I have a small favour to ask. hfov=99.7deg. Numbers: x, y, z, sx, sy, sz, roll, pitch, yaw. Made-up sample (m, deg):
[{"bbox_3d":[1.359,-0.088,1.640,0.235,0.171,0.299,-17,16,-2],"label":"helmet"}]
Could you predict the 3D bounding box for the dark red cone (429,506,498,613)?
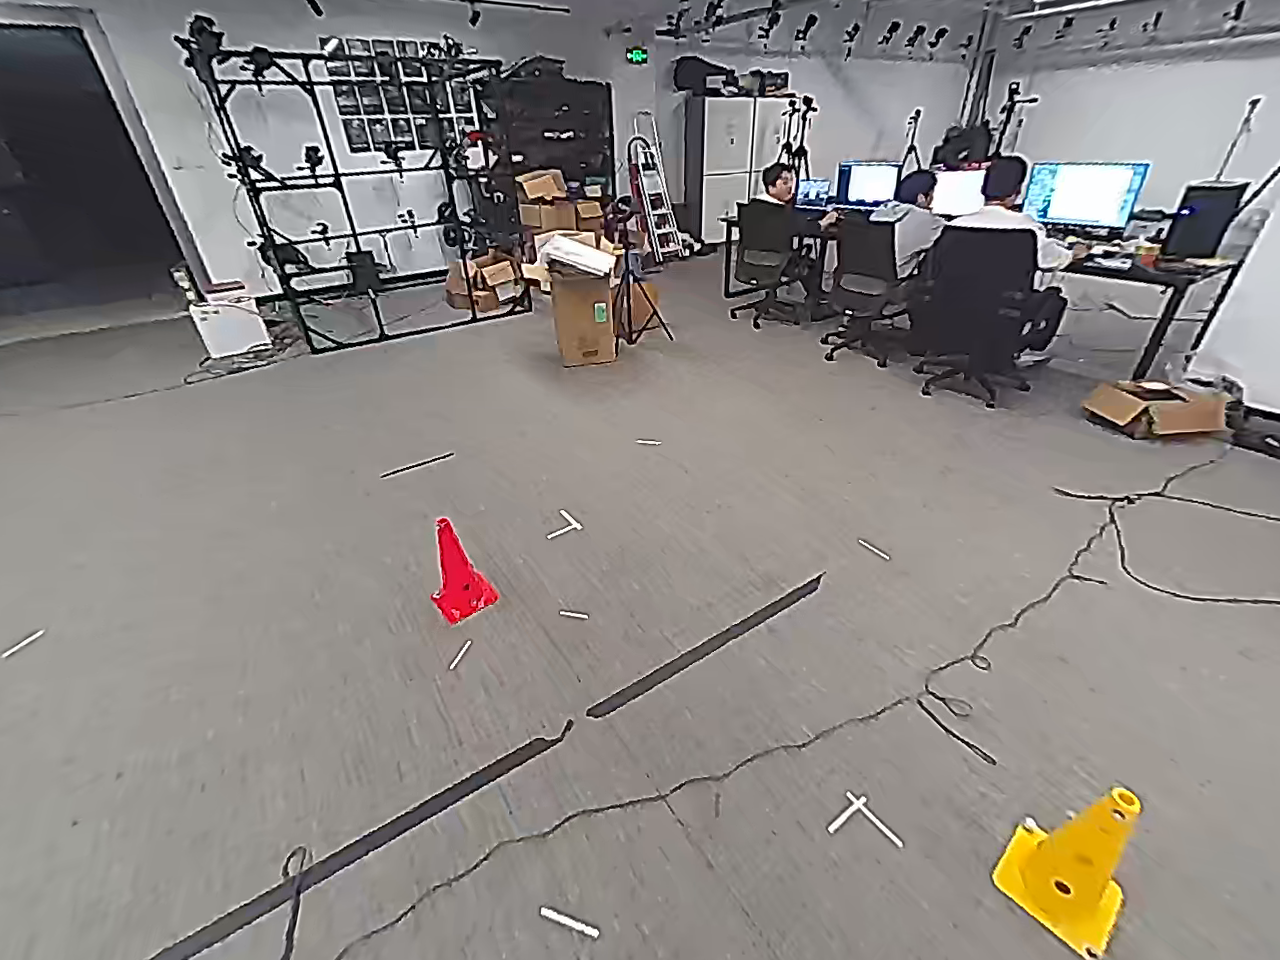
[{"bbox_3d":[-0.655,0.261,1.907,0.202,0.394,0.201,-26,40,-33],"label":"dark red cone"}]
